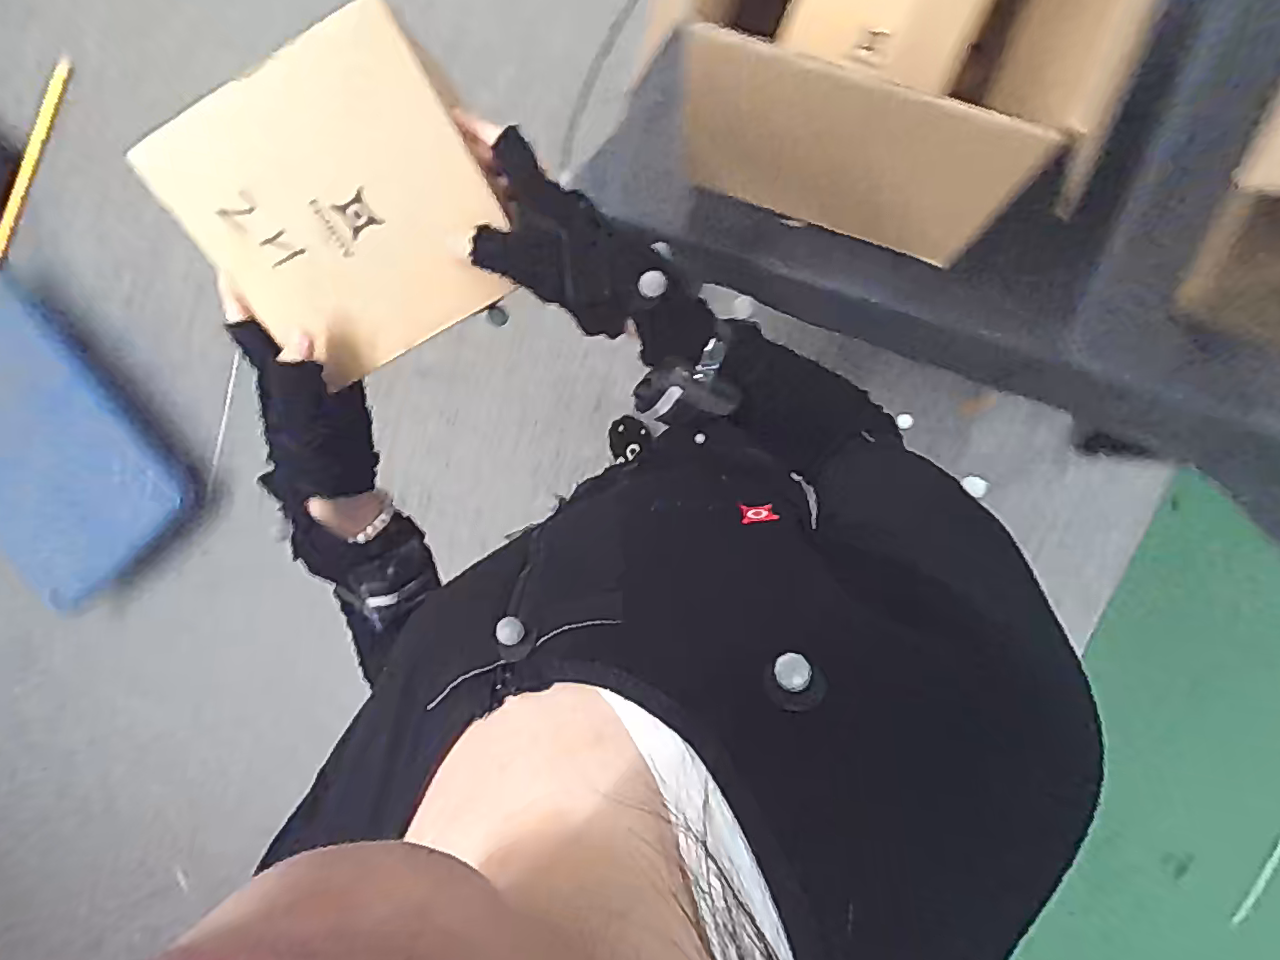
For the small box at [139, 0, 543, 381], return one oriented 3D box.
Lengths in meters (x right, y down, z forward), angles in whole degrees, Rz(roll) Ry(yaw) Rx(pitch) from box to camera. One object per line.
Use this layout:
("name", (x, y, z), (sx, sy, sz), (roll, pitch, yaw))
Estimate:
("small box", (-0.186, -0.202, 0.406), (0.179, 0.176, 0.168), (-25, 115, 5))
